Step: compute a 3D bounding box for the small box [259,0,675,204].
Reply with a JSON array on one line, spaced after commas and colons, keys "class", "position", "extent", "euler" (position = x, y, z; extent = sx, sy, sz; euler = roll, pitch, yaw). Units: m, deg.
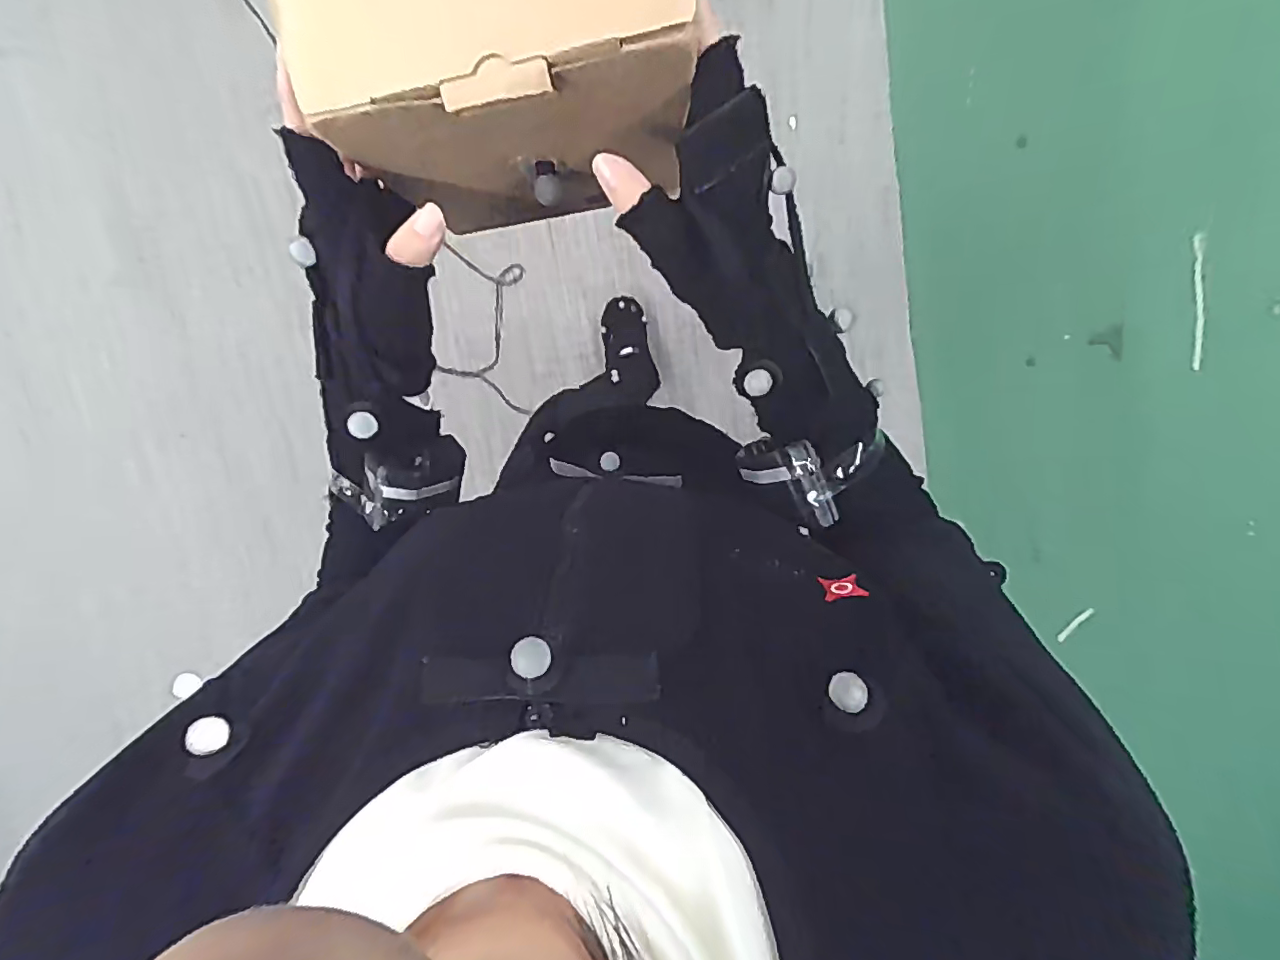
[{"class": "small box", "position": [-0.072, -0.261, 0.279], "extent": [0.168, 0.176, 0.179], "euler": [-7, 100, 4]}]

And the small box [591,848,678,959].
[{"class": "small box", "position": [-0.008, 1.032, 1.302], "extent": [0.179, 0.176, 0.168], "euler": [-12, 100, 4]}]
